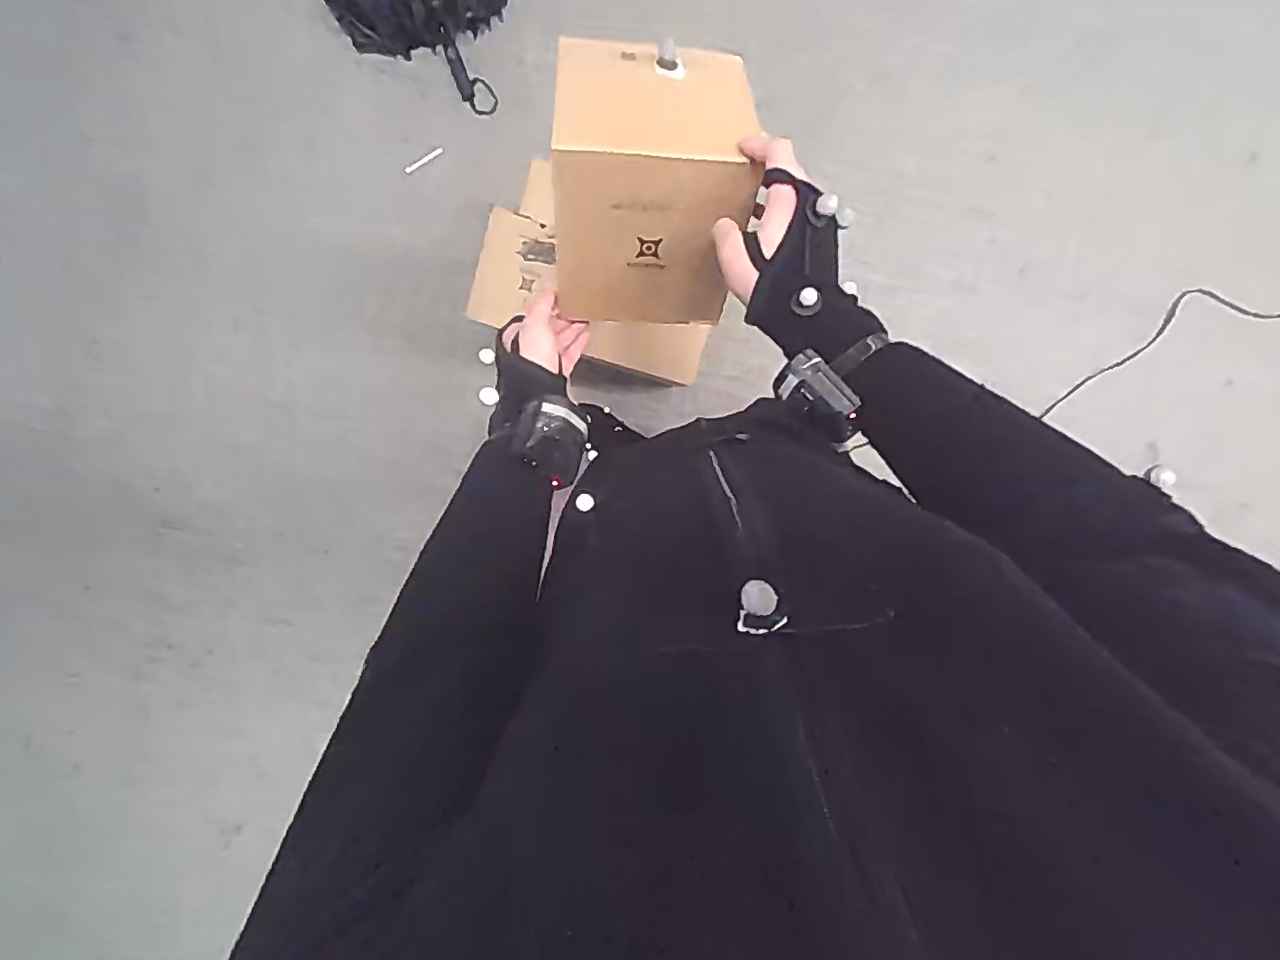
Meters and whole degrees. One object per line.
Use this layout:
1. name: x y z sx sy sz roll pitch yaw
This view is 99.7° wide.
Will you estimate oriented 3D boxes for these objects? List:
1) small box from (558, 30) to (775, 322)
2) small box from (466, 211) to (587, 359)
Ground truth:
1. small box: 0.010 -0.274 0.508 0.168 0.179 0.176 0 60 -6
2. small box: -0.174 -0.318 0.921 0.168 0.176 0.179 19 99 -5
